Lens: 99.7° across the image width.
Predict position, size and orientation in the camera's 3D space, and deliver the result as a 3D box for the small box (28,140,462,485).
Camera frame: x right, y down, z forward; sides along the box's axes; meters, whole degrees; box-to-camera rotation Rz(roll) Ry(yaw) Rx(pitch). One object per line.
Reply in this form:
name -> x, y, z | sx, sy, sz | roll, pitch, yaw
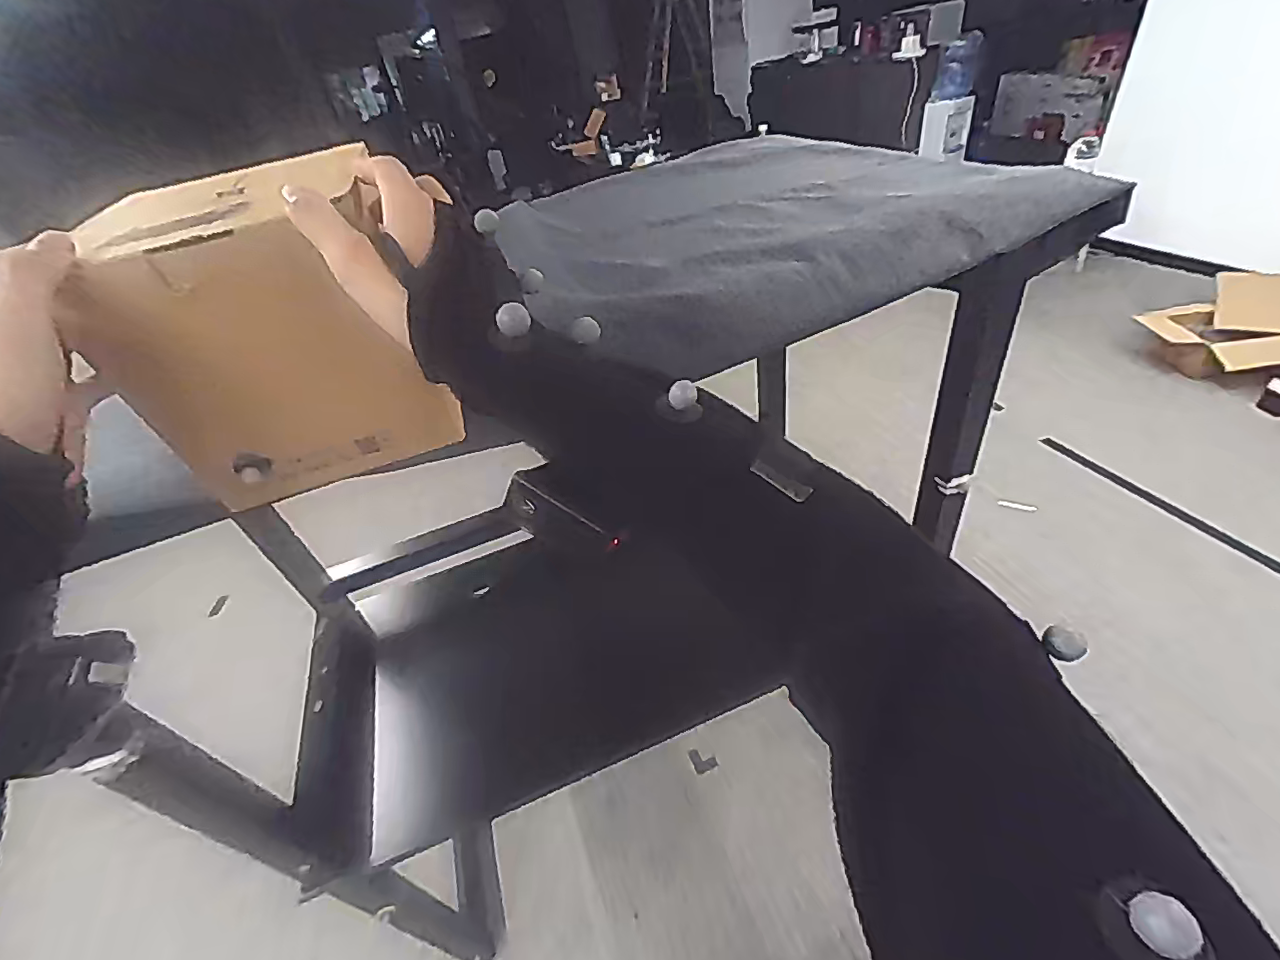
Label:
small box -> -0.239, -0.116, 0.390 | 0.168, 0.176, 0.179 | -19, 43, -8
